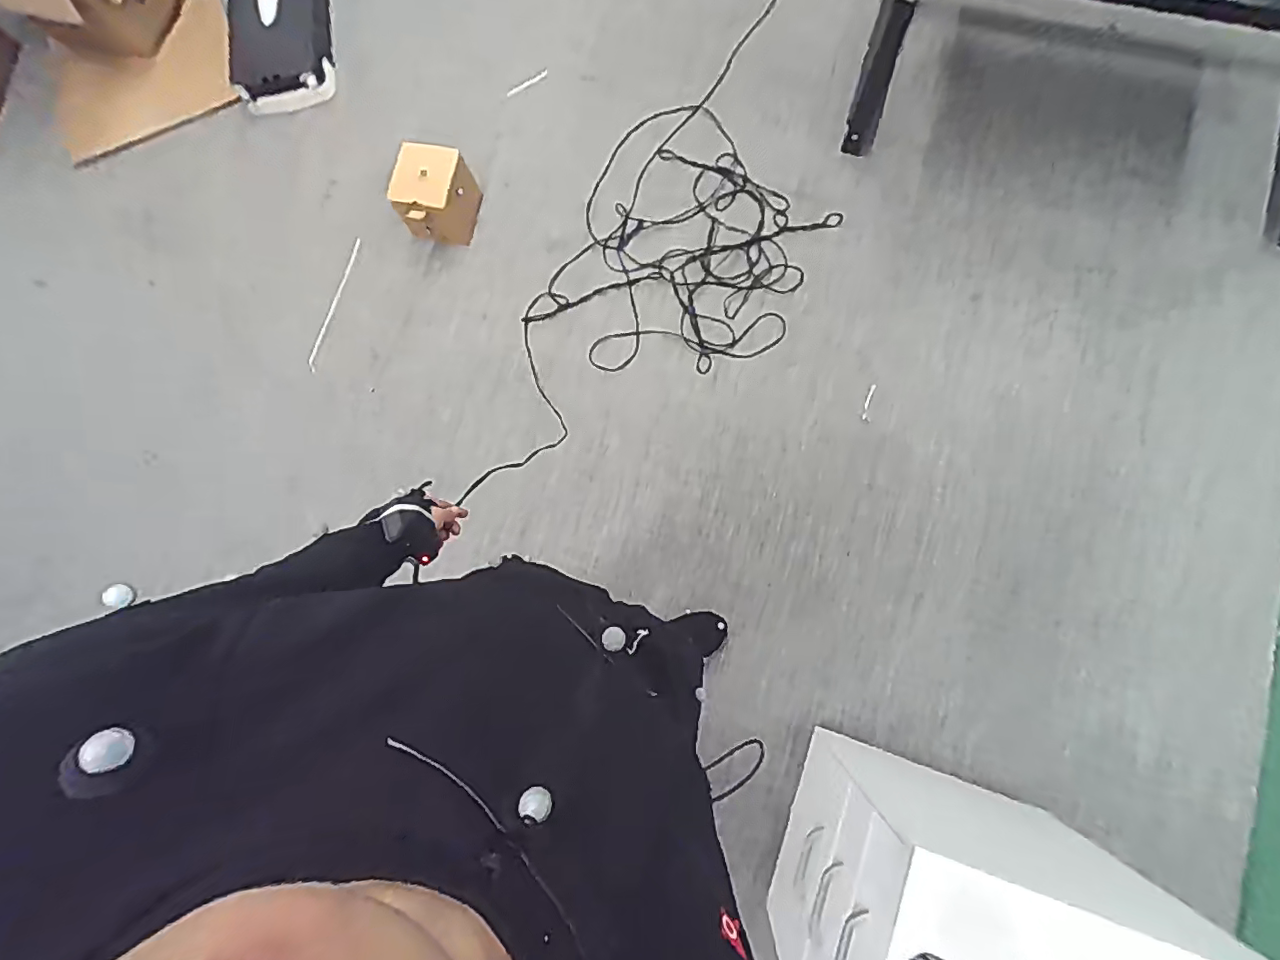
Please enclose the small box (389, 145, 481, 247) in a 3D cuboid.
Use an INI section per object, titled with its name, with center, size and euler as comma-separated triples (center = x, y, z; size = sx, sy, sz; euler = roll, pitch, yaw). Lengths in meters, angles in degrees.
[small box]
center = -0.561, -0.786, 1.507
size = 0.168, 0.176, 0.179
euler = 11, 82, 6
